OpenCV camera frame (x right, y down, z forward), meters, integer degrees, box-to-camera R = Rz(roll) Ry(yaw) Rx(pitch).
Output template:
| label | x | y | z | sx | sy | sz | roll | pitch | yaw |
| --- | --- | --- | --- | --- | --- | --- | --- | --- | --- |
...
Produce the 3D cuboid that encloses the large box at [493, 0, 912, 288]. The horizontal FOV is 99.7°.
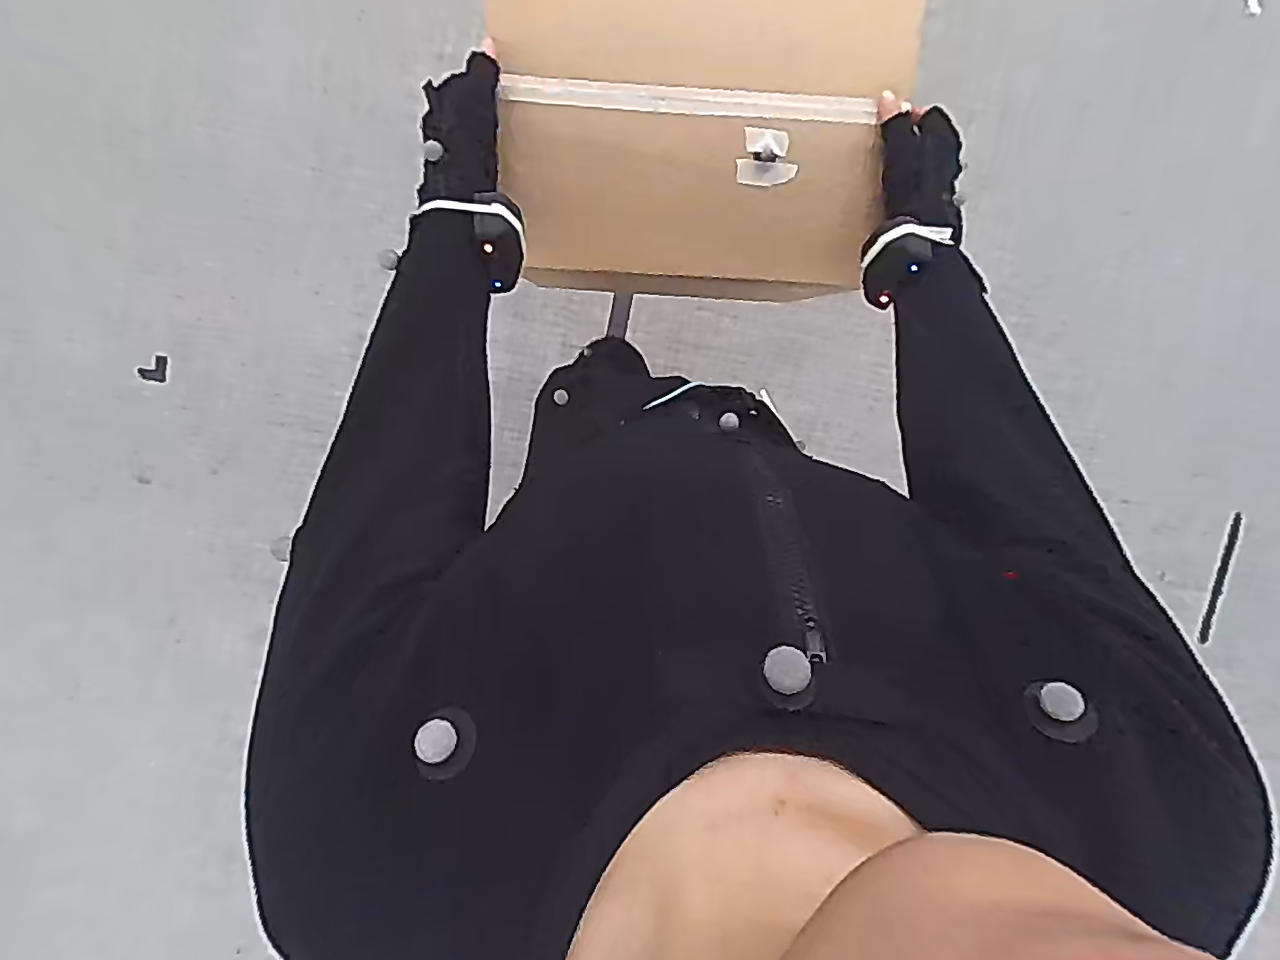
| label | x | y | z | sx | sy | sz | roll | pitch | yaw |
| --- | --- | --- | --- | --- | --- | --- | --- | --- | --- |
| large box | 0.051 | -0.417 | 0.674 | 0.408 | 0.320 | 0.320 | 1 | 107 | -3 |
